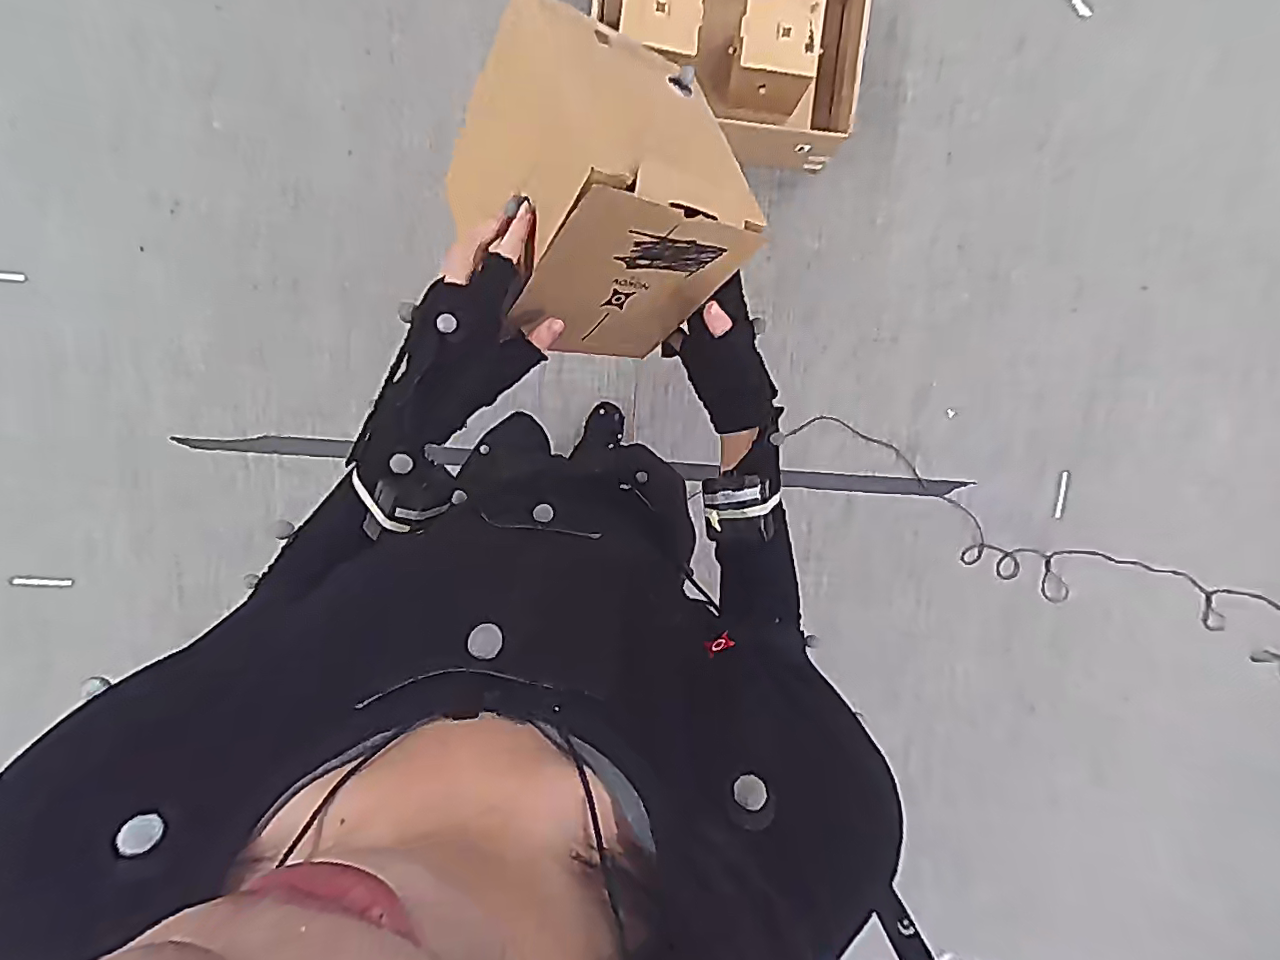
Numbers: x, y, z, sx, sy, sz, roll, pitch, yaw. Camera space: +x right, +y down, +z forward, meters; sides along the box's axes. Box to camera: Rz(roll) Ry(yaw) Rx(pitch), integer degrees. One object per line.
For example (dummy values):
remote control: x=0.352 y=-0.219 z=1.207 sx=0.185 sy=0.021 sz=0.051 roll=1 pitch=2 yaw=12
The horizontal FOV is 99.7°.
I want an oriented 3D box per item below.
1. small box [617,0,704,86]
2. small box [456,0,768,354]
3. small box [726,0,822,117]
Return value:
small box: x=0.041 y=-1.023 z=1.252 sx=0.179 sy=0.176 sz=0.168 roll=7 pitch=97 yaw=-4
small box: x=-0.035 y=-0.228 z=0.445 sx=0.168 sy=0.179 sz=0.176 roll=-5 pitch=69 yaw=-40
small box: x=0.306 y=-0.990 z=1.272 sx=0.179 sy=0.176 sz=0.168 roll=5 pitch=99 yaw=-2
